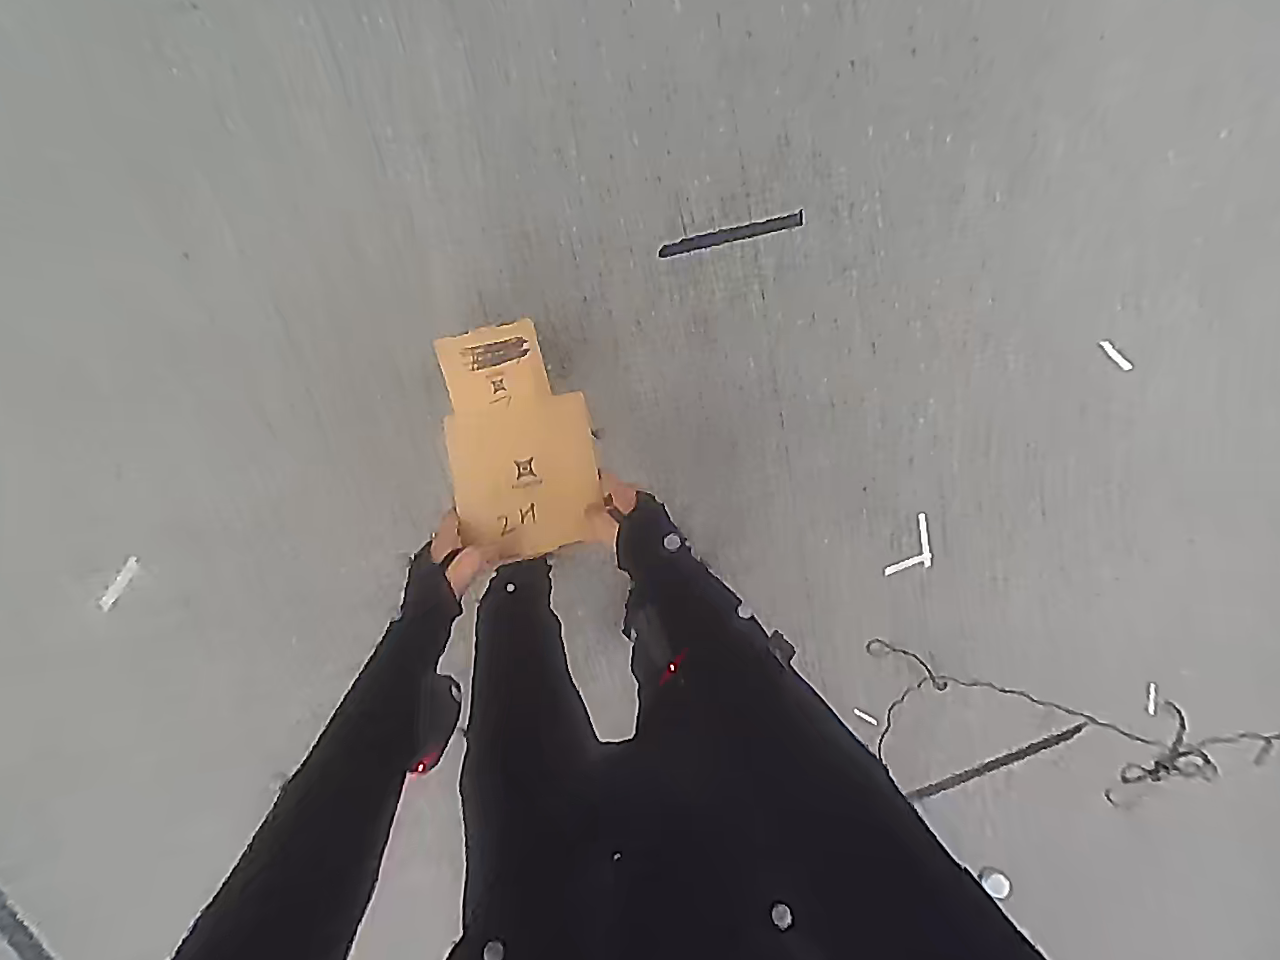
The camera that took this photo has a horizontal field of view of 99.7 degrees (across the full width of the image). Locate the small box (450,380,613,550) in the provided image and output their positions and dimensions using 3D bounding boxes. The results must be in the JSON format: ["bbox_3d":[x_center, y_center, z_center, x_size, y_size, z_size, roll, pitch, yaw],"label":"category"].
[{"bbox_3d":[-0.130,-0.010,0.700,0.168,0.176,0.179,-11,83,-3],"label":"small box"}]

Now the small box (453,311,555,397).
[{"bbox_3d":[-0.280,-0.243,1.140,0.168,0.176,0.179,-18,106,-8],"label":"small box"}]
